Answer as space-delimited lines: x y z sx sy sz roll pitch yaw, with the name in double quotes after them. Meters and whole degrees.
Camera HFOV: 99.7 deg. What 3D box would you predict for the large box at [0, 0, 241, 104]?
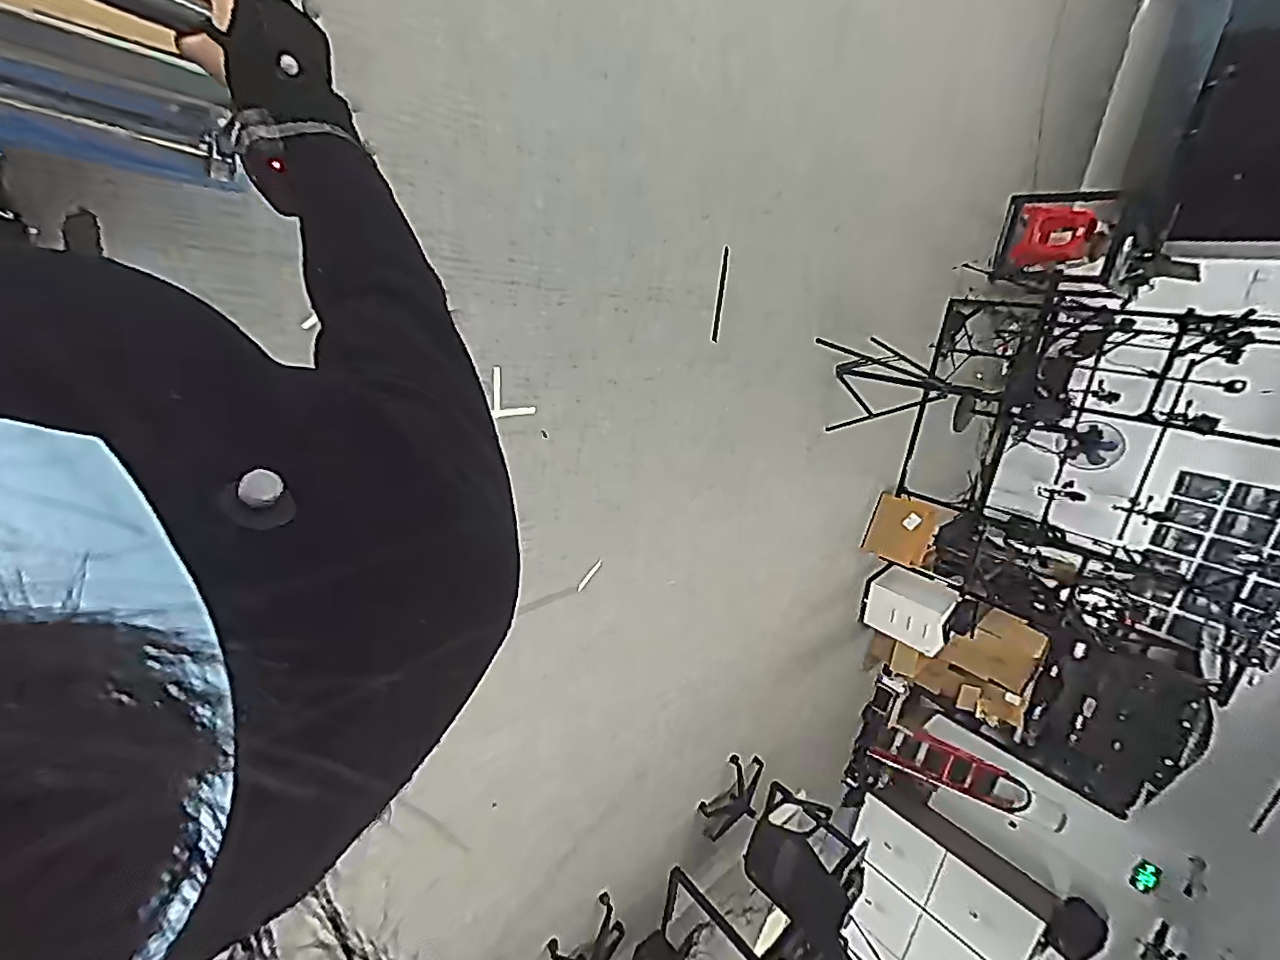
-0.780 -0.718 0.659 0.408 0.320 0.320 -12 116 -44 "large box"
